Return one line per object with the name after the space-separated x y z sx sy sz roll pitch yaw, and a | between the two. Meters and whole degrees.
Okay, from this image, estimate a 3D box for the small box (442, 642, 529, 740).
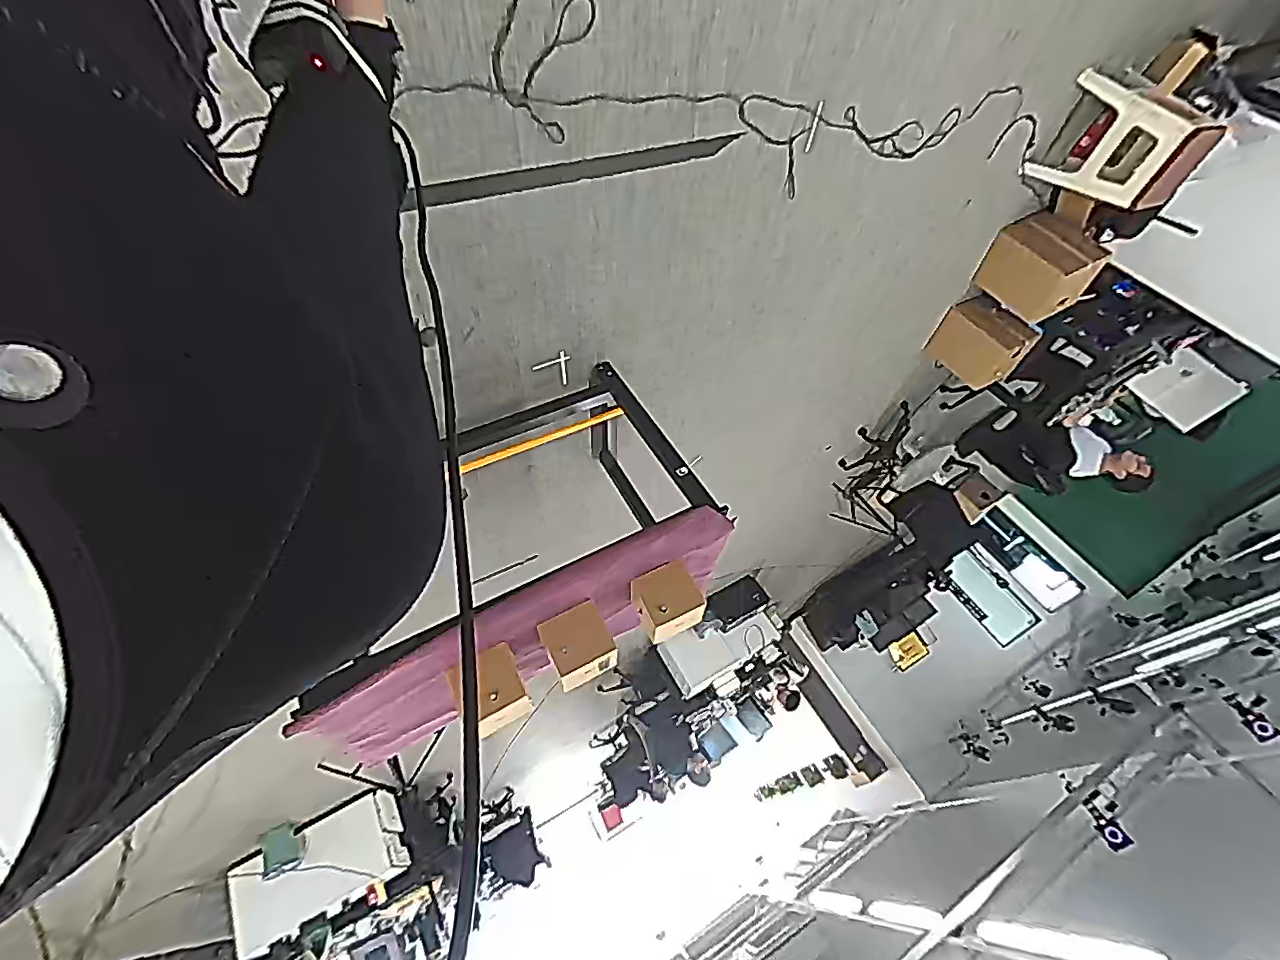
-0.429 0.580 1.491 0.179 0.176 0.168 -25 151 -18 | small box

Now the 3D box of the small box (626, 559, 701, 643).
0.065 0.376 1.689 0.179 0.176 0.168 -22 150 -16 | small box
